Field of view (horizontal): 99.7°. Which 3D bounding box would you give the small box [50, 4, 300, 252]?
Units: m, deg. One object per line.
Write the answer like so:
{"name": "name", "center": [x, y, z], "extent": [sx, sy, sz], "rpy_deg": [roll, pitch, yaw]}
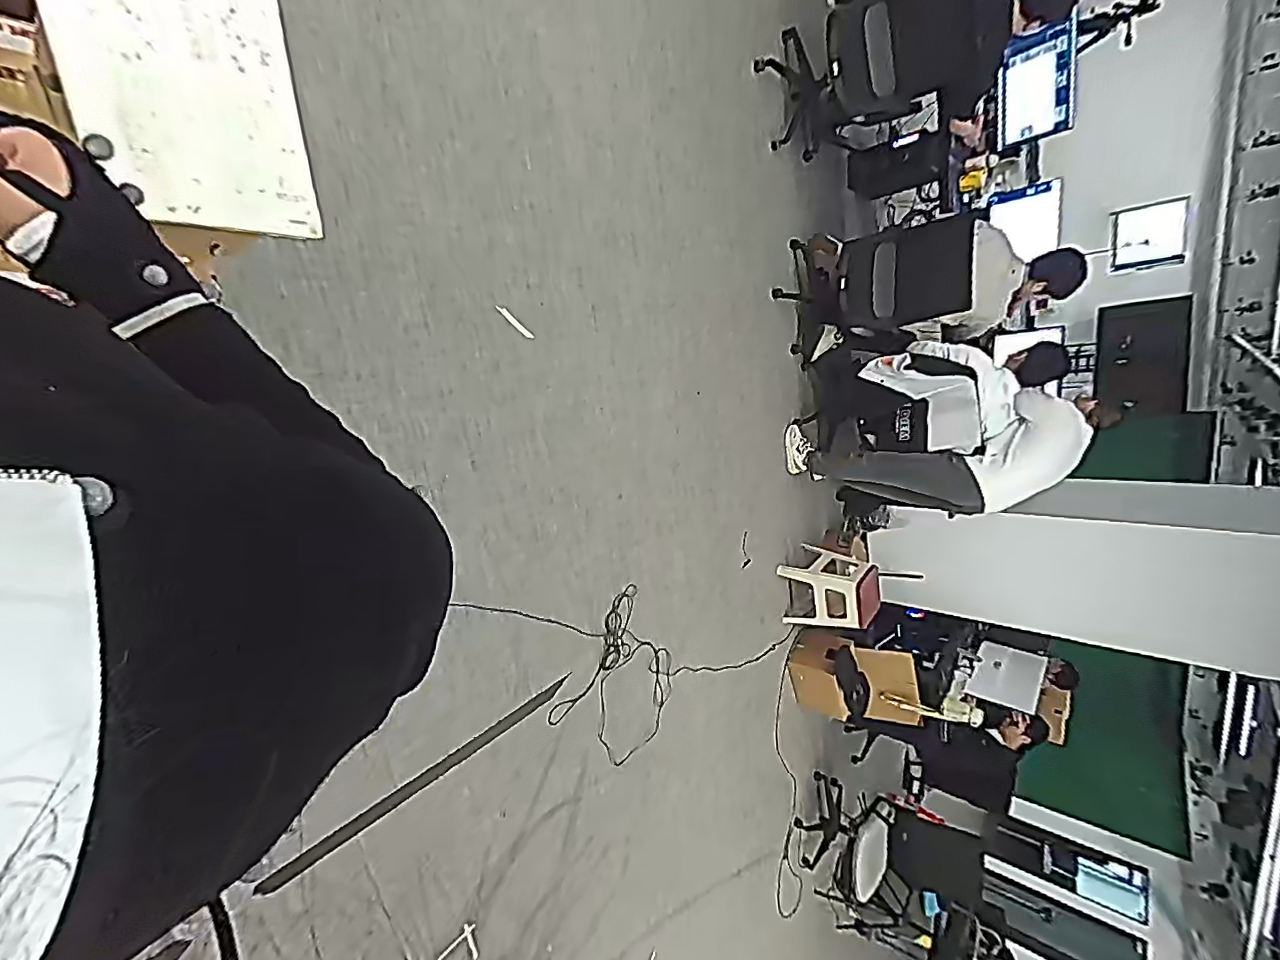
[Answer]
{"name": "small box", "center": [-0.533, -0.378, 0.623], "extent": [0.168, 0.176, 0.179], "rpy_deg": [-23, 110, -47]}

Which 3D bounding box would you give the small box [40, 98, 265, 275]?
{"name": "small box", "center": [-0.655, -0.379, 0.732], "extent": [0.179, 0.176, 0.168], "rpy_deg": [-26, 113, -45]}
